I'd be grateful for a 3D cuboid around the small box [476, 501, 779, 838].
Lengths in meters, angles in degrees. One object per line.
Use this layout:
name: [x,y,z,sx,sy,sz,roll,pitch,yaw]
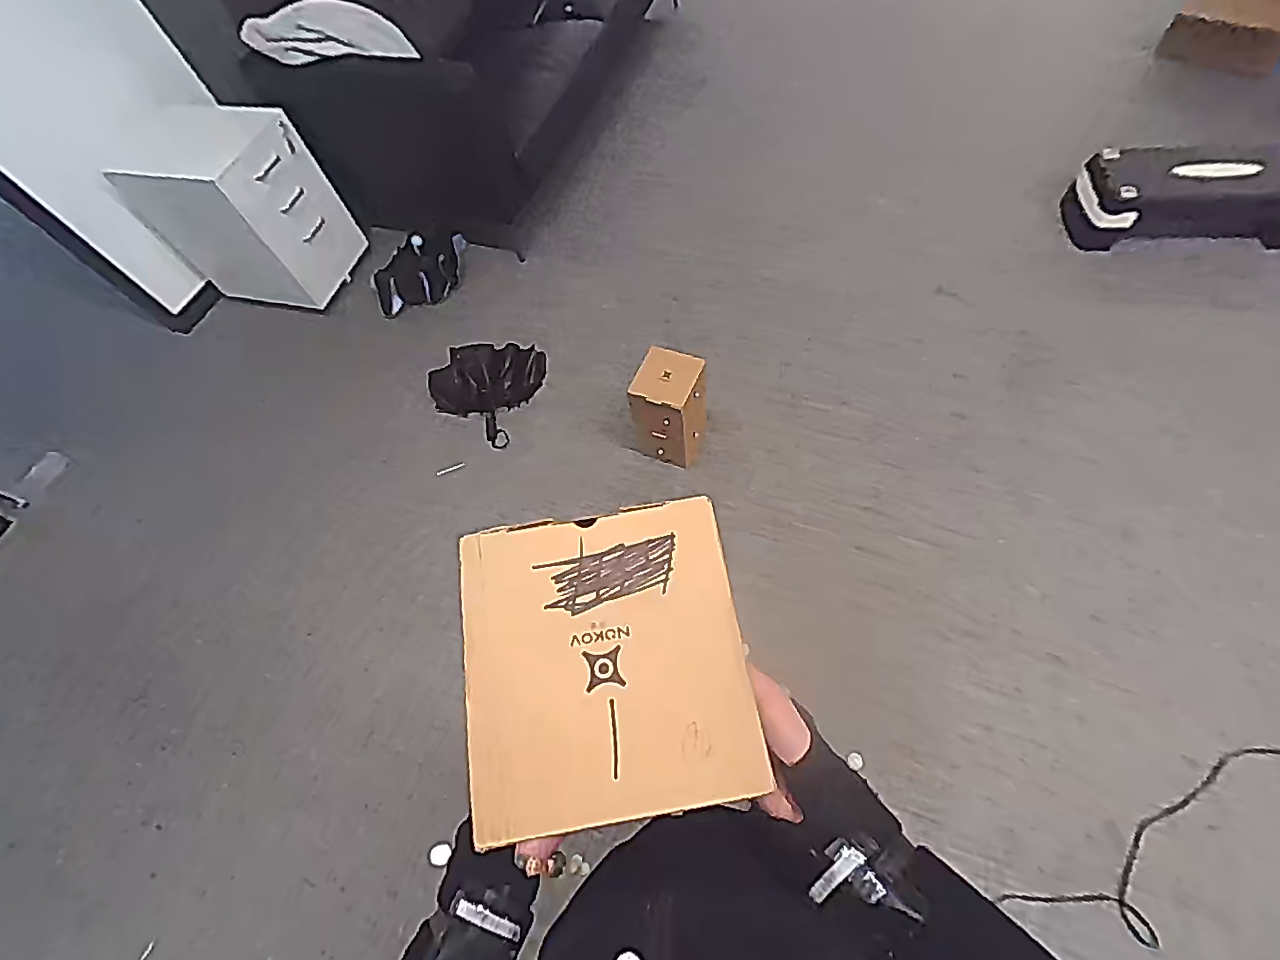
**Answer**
small box: [-0.014,0.133,0.399,0.168,0.176,0.179,-9,69,-2]
